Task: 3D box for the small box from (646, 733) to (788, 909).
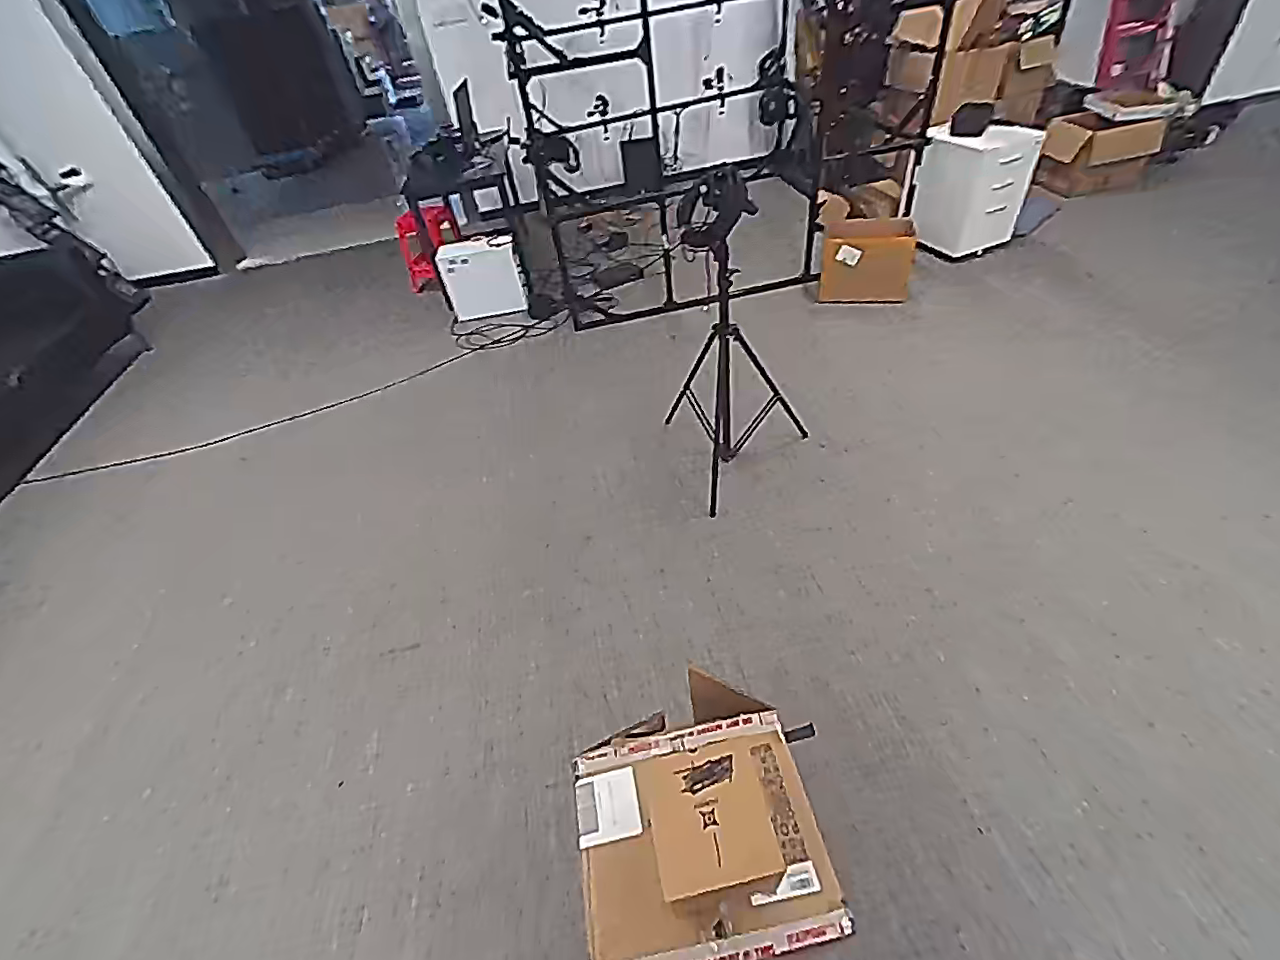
[{"bbox_3d":[0.109,0.517,0.818,0.168,0.176,0.179,-13,47,-2],"label":"small box"}]
